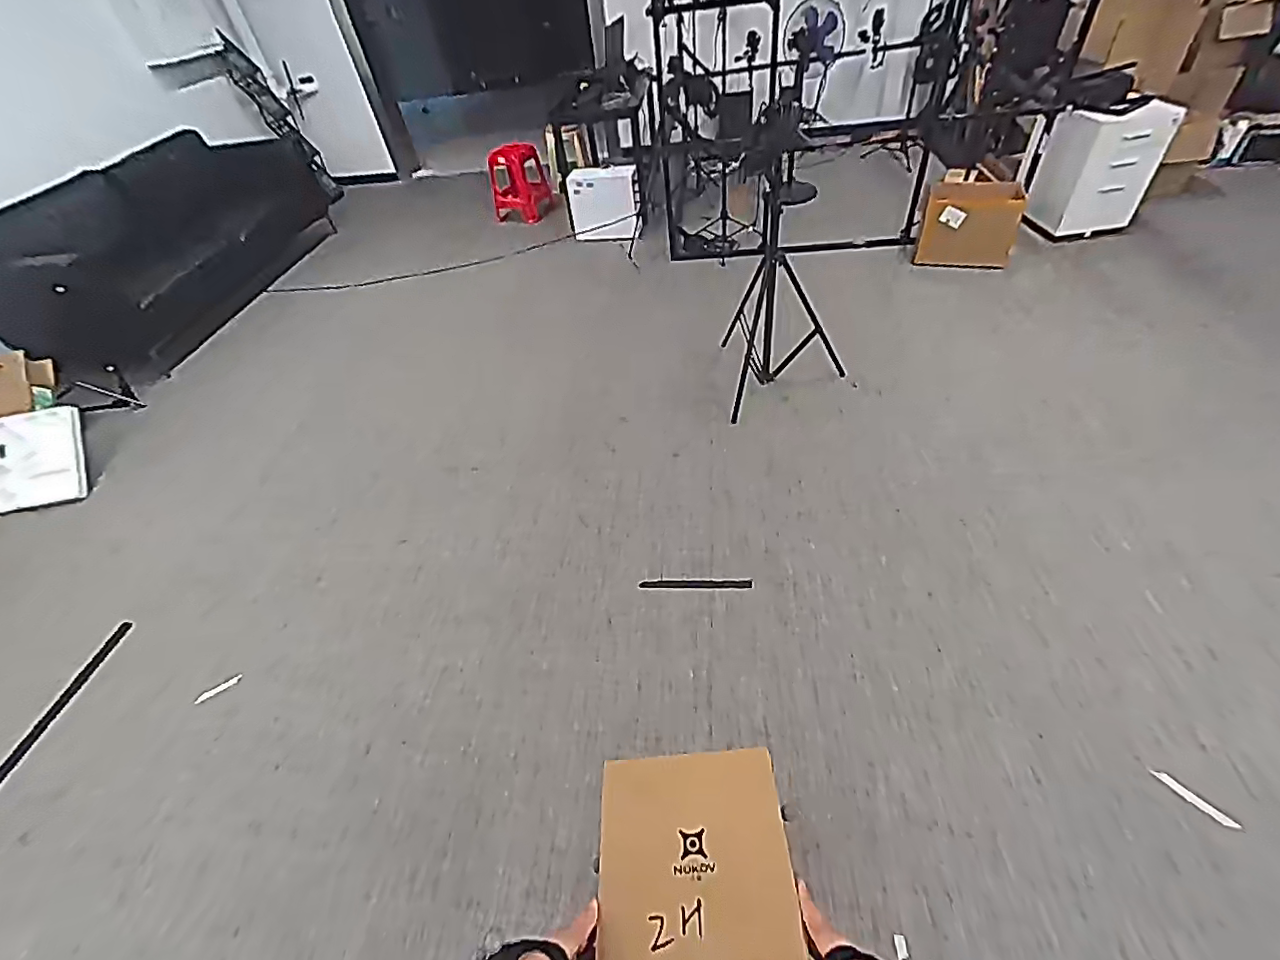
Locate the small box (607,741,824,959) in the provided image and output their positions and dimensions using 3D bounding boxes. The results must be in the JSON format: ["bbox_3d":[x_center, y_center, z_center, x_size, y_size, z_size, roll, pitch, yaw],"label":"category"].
[{"bbox_3d":[0.066,0.379,0.512,0.168,0.176,0.179,-9,38,5],"label":"small box"}]
